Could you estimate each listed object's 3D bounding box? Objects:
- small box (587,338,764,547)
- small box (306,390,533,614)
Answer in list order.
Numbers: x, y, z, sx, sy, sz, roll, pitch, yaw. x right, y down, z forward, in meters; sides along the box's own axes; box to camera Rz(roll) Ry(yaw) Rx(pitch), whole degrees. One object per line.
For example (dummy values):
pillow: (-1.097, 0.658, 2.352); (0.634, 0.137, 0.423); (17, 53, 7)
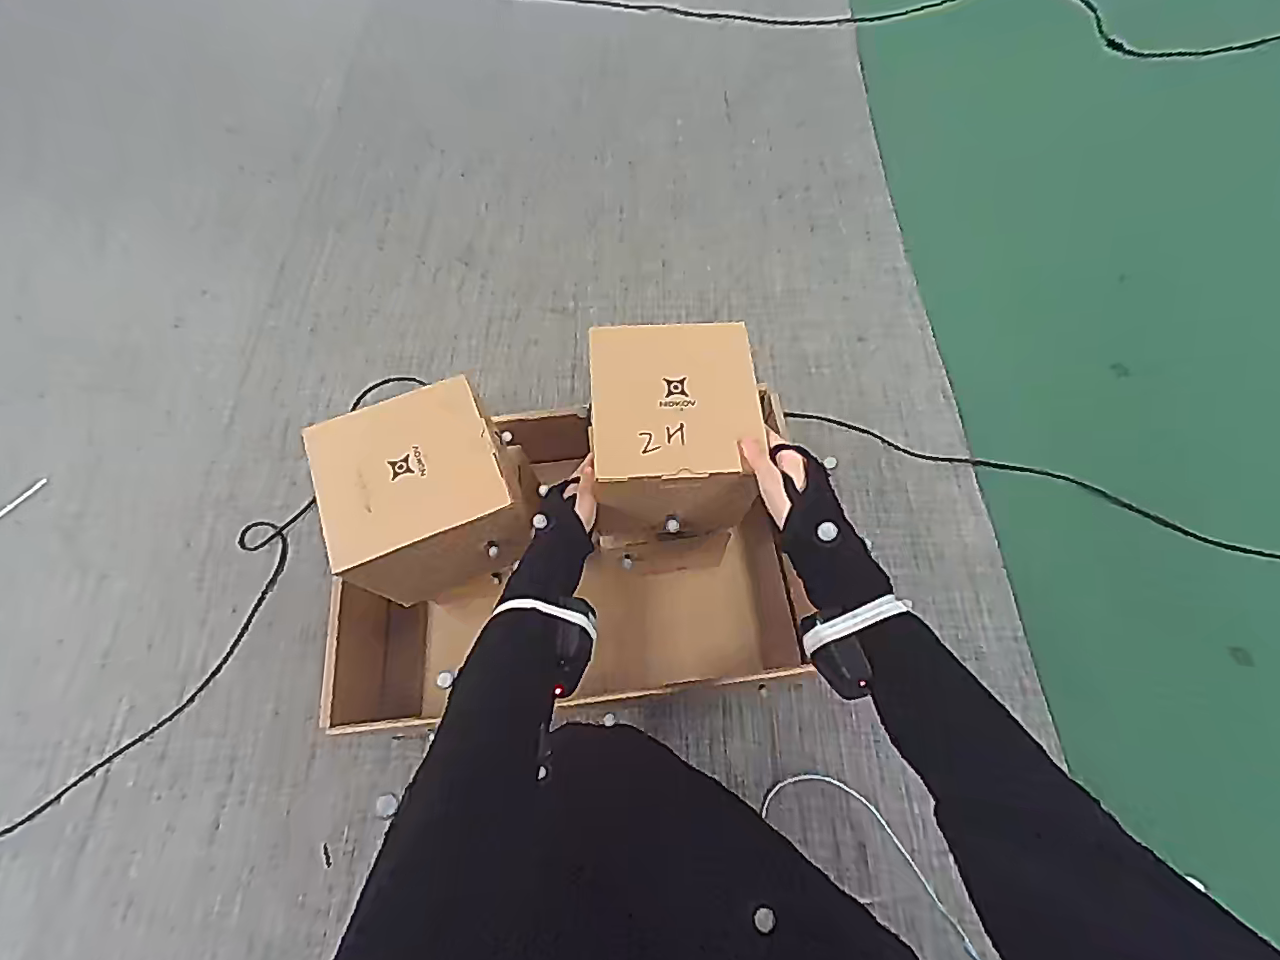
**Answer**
small box: (0.026, -0.036, 0.603); (0.168, 0.176, 0.179); (-3, 66, -3)
small box: (-0.231, 0.033, 0.609); (0.179, 0.176, 0.168); (-22, 67, -8)
